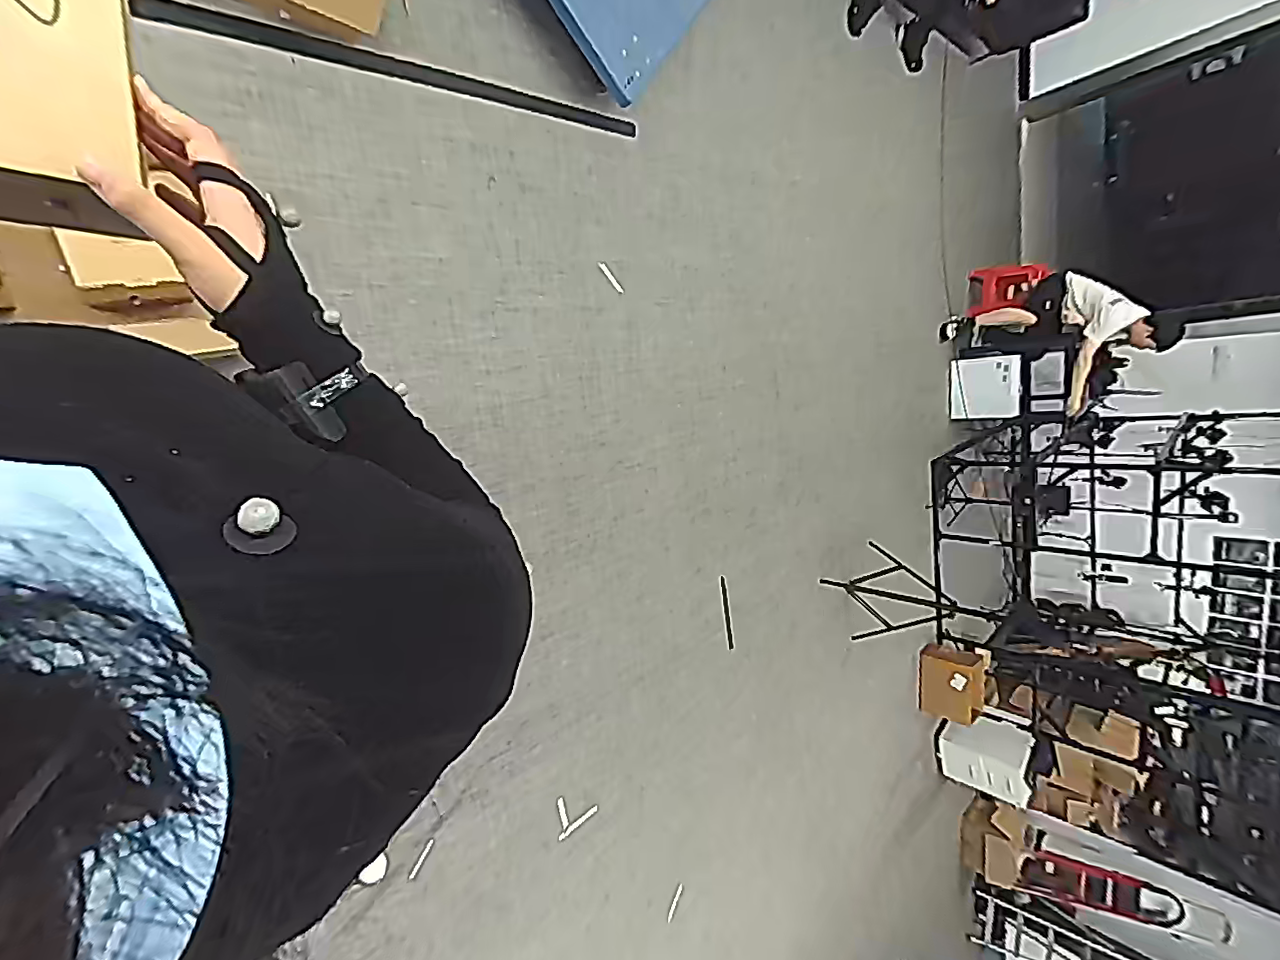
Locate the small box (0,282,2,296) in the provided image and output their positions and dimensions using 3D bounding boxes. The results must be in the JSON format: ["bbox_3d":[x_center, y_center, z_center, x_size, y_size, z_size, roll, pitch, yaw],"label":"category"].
[{"bbox_3d":[-1.147,-0.364,0.833,0.179,0.176,0.168,-25,109,-39],"label":"small box"}]

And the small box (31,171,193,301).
[{"bbox_3d":[-0.963,-0.443,0.998,0.168,0.176,0.179,-22,108,-38],"label":"small box"}]
